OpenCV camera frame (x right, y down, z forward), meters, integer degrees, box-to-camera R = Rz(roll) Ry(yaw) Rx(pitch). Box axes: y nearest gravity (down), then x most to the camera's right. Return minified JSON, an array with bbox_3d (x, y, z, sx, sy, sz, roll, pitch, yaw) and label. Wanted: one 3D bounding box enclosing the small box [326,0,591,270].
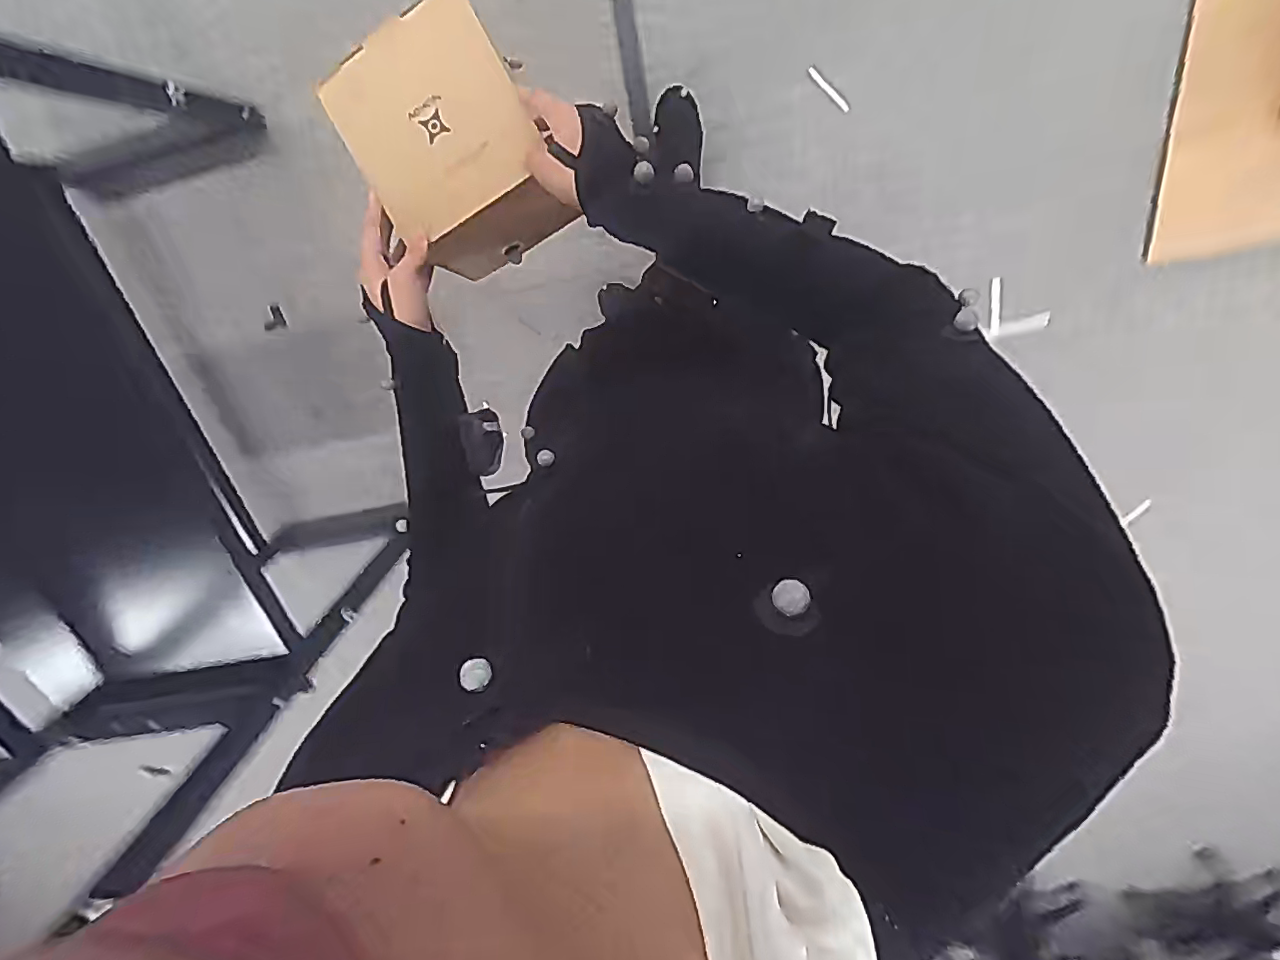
[{"bbox_3d":[-0.171,-0.351,0.570,0.168,0.176,0.179,-27,98,10],"label":"small box"}]
